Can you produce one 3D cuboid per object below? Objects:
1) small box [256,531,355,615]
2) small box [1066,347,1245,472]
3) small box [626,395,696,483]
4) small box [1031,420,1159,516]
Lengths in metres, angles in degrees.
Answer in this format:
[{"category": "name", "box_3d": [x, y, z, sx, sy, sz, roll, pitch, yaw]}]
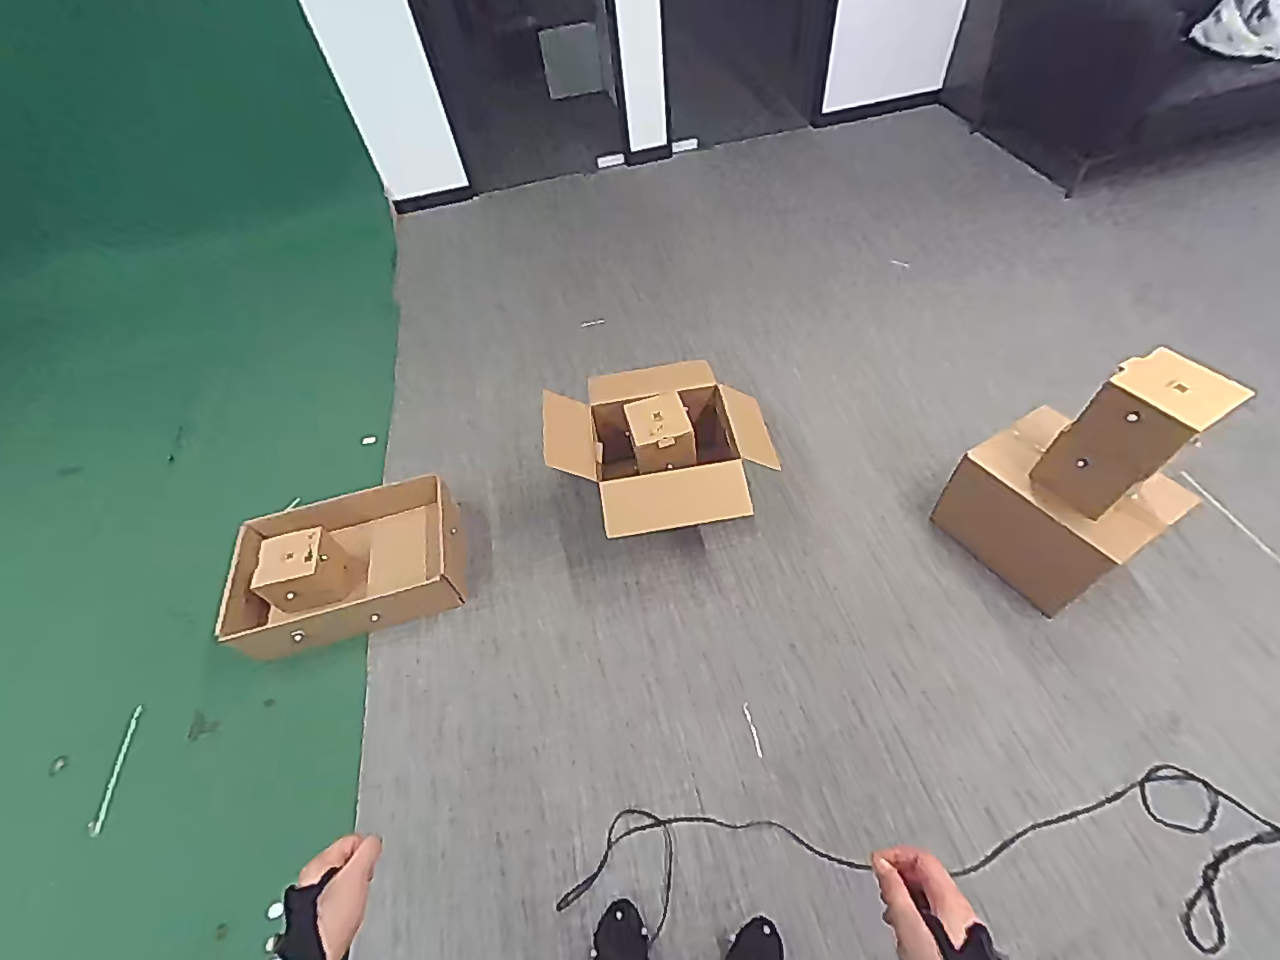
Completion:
[{"category": "small box", "box_3d": [-0.984, 0.281, 1.605, 0.179, 0.176, 0.168, -14, 51, -4]}, {"category": "small box", "box_3d": [1.064, -0.139, 1.134, 0.168, 0.176, 0.179, -29, 54, -12]}, {"category": "small box", "box_3d": [0.064, -0.120, 1.607, 0.168, 0.176, 0.179, -16, 52, -2]}, {"category": "small box", "box_3d": [1.077, -0.049, 1.269, 0.168, 0.176, 0.179, -29, 55, -13]}]
